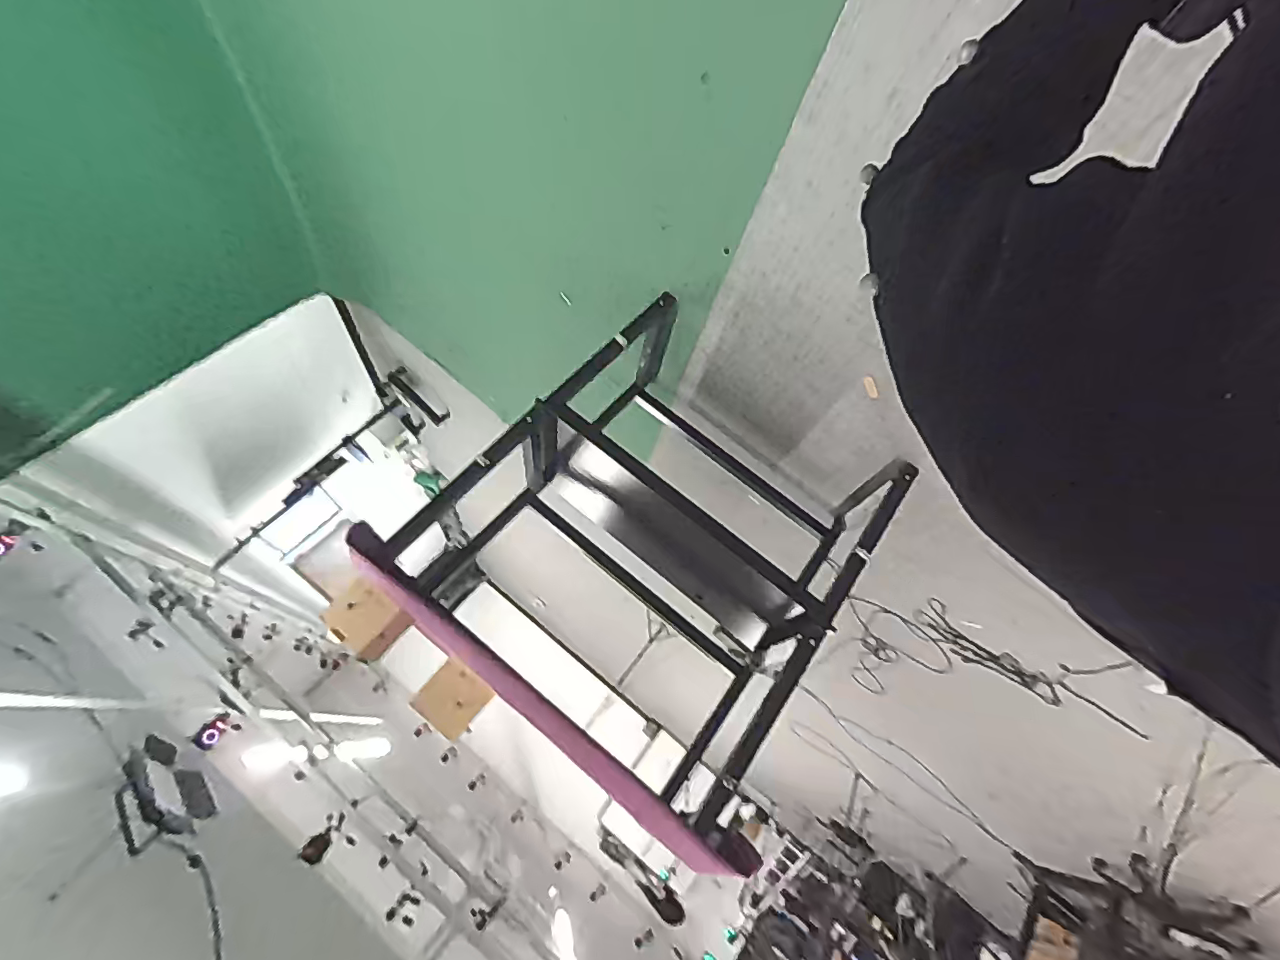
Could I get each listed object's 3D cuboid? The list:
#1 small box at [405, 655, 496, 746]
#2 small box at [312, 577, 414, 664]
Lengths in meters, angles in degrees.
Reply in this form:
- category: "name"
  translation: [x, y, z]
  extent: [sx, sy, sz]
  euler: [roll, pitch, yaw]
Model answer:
- category: "small box"
  translation: [-0.518, 0.606, 1.504]
  extent: [0.168, 0.176, 0.179]
  euler: [40, 157, 3]
- category: "small box"
  translation: [-0.789, 0.404, 1.558]
  extent: [0.168, 0.176, 0.179]
  euler: [37, 157, 9]
